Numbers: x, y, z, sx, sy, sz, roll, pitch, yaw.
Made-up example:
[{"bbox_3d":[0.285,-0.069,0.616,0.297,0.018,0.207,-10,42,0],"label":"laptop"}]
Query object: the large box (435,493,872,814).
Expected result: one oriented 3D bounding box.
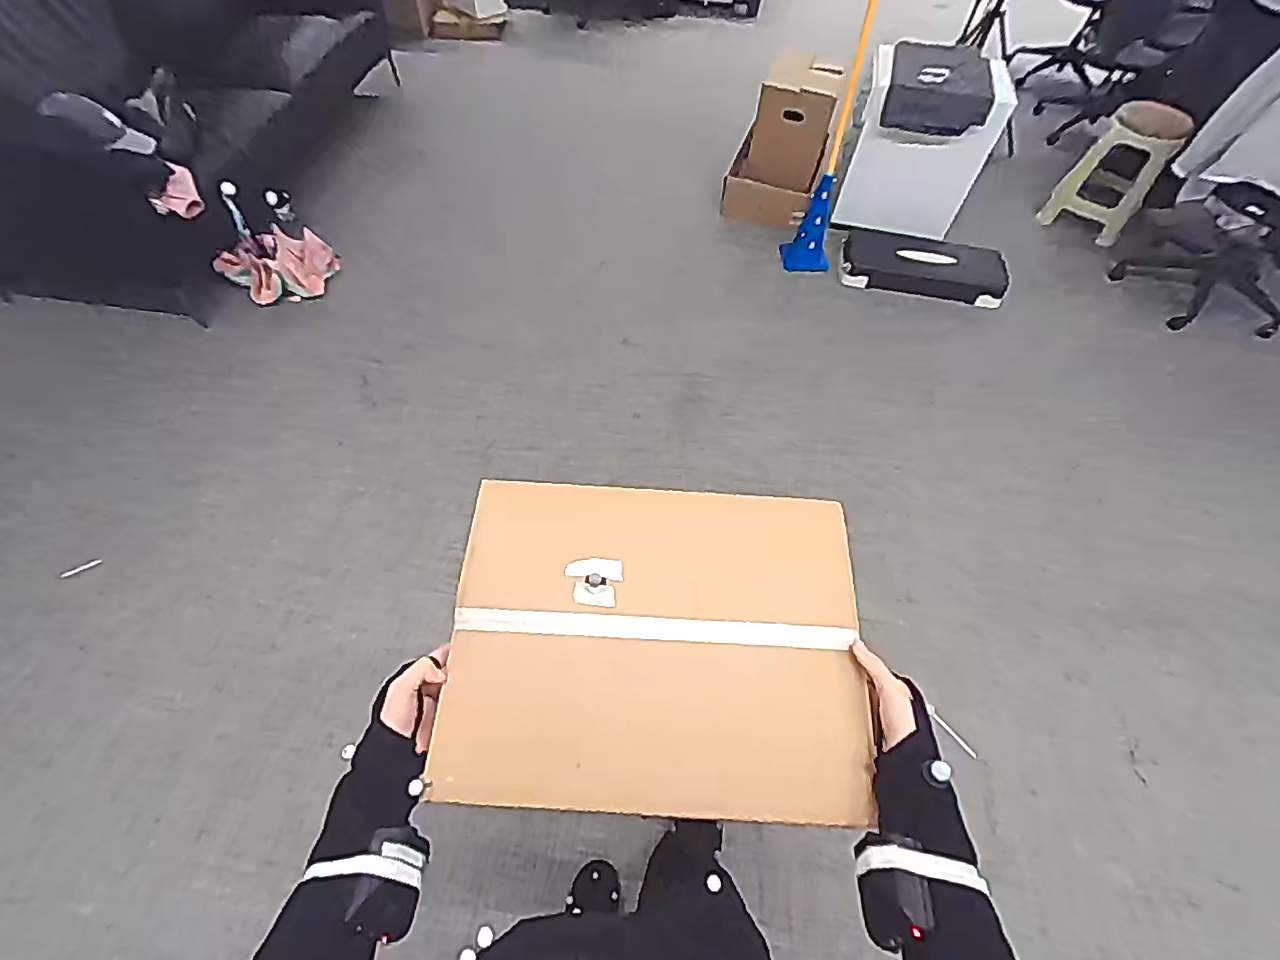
[{"bbox_3d":[0.016,0.223,0.686,0.408,0.320,0.320,2,62,0],"label":"large box"}]
